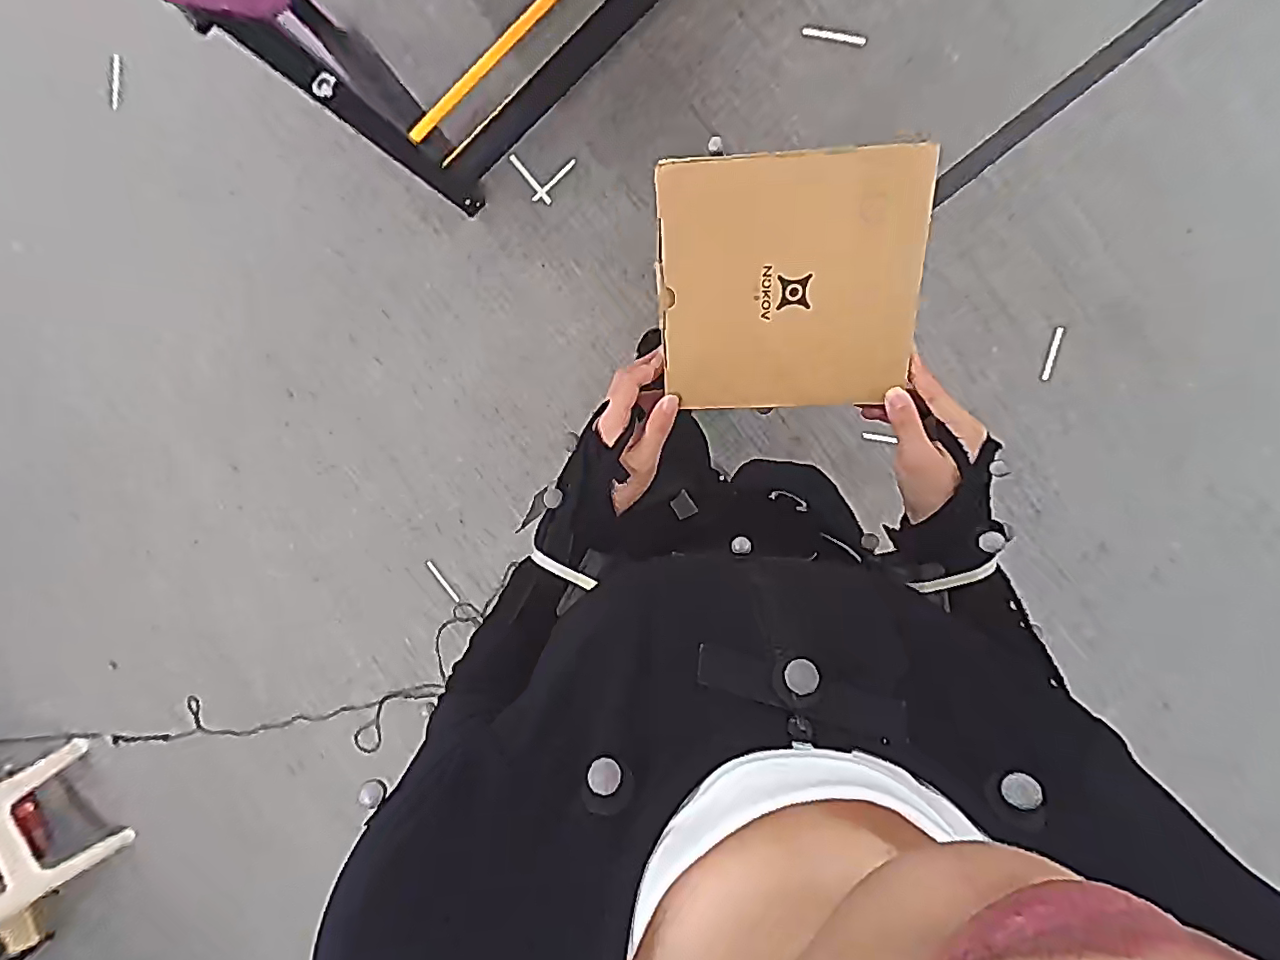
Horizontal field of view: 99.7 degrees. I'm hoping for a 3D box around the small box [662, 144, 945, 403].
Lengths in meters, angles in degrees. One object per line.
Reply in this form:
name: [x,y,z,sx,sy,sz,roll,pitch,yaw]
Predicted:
small box: [0.112,-0.167,0.441,0.179,0.176,0.168,0,115,8]
